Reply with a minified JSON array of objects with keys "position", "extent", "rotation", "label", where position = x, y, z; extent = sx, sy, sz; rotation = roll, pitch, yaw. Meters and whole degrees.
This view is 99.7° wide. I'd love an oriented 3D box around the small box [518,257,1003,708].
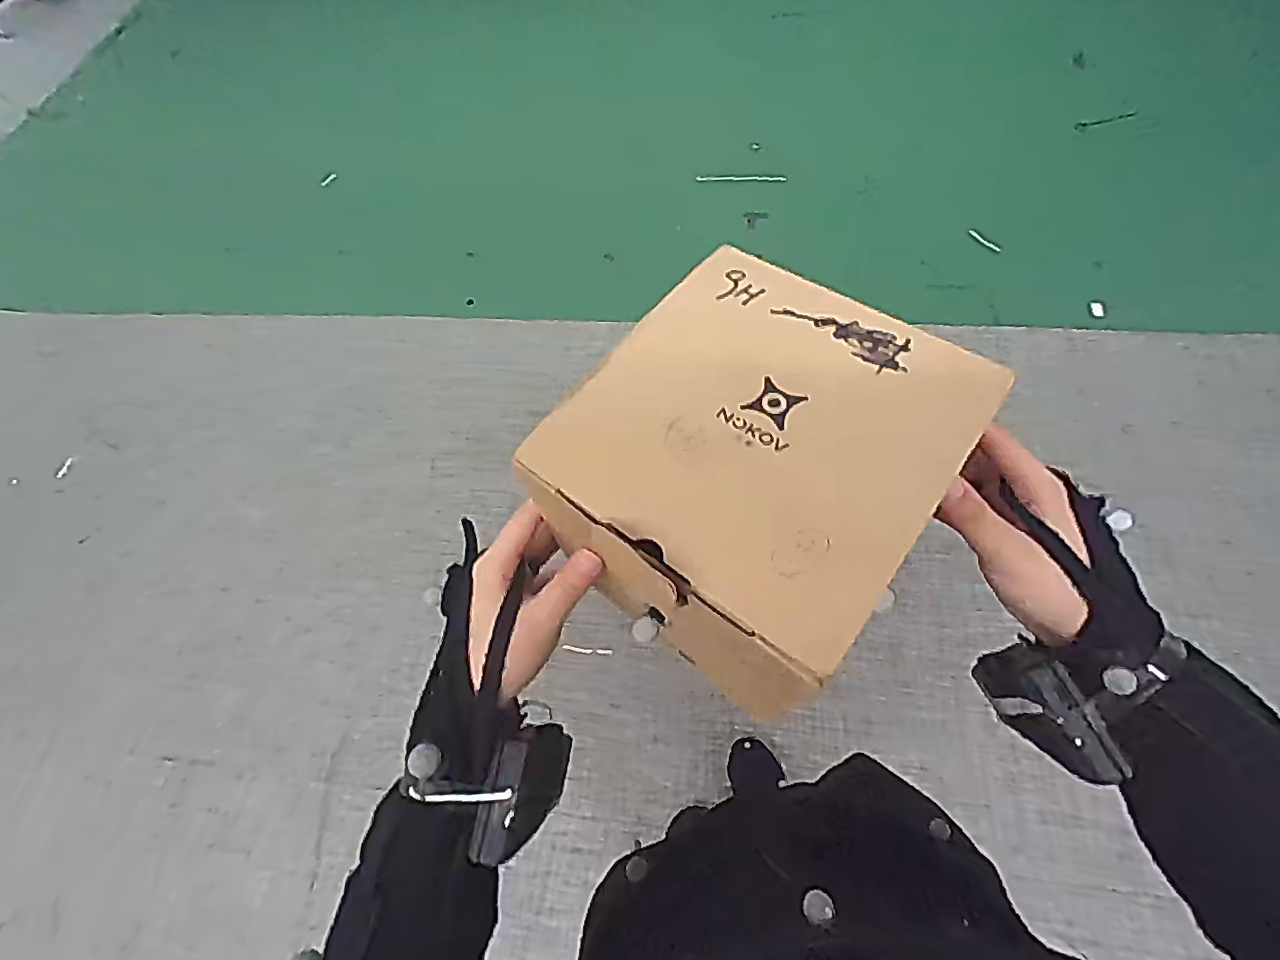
[{"position":[0.064,0.012,0.326],"extent":[0.168,0.176,0.179],"rotation":[34,71,21],"label":"small box"}]
